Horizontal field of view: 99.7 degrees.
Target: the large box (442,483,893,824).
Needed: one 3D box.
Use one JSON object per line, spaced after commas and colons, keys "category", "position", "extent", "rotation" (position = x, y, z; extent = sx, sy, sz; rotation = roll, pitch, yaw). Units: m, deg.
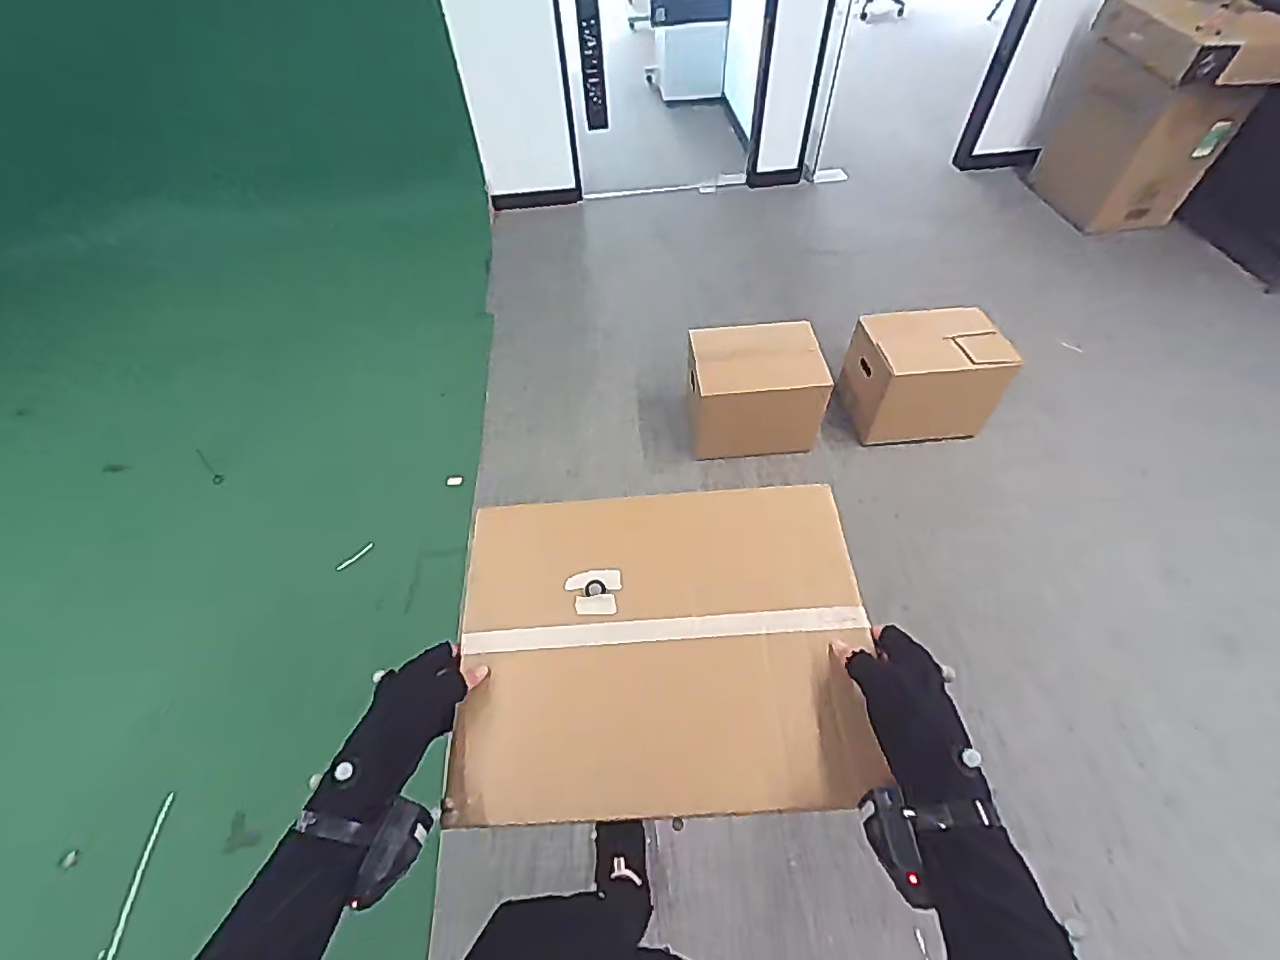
{"category": "large box", "position": [0.026, 0.225, 0.671], "extent": [0.408, 0.320, 0.320], "rotation": [-4, 59, 3]}
